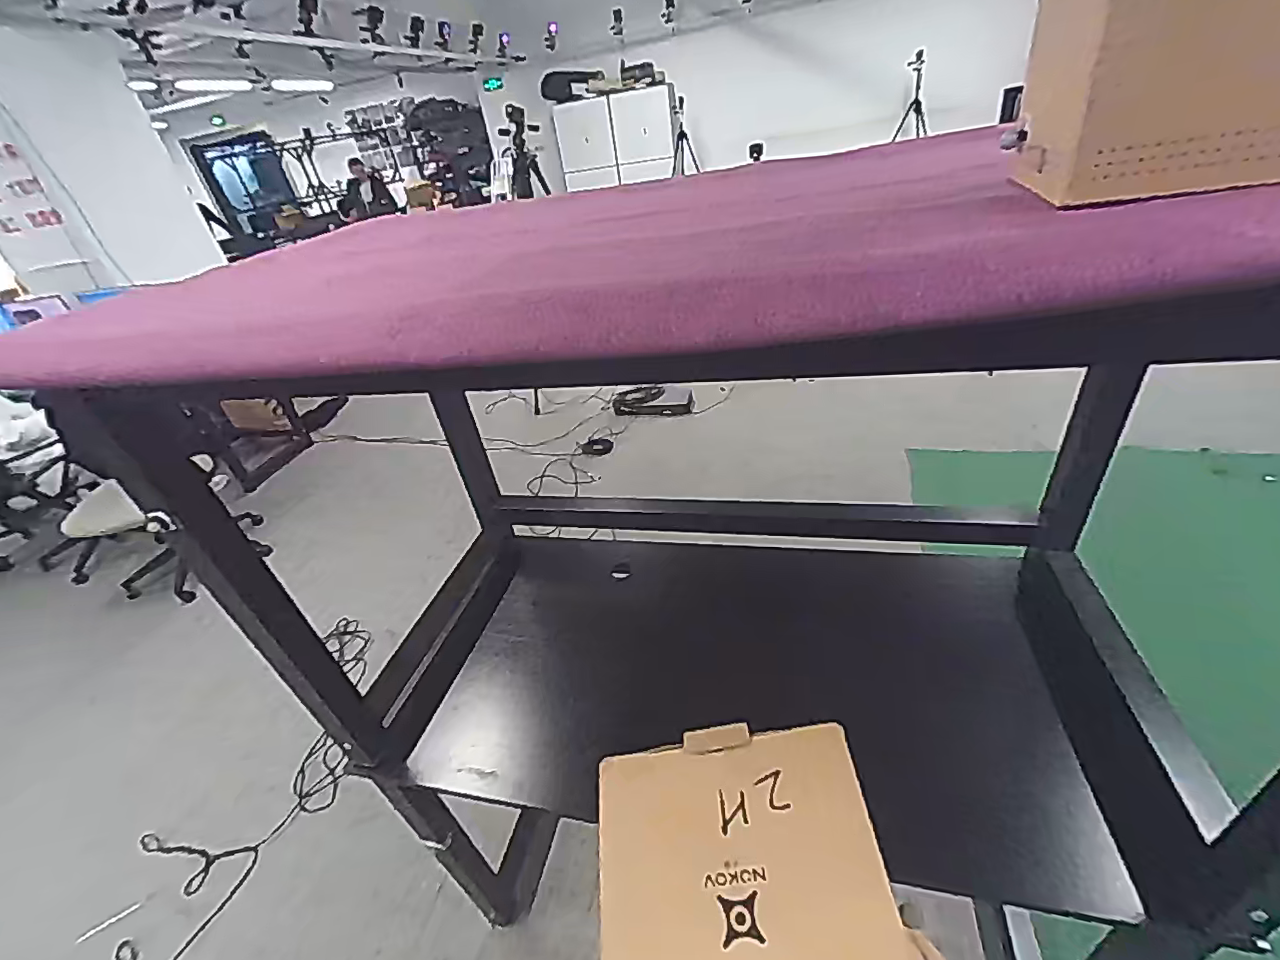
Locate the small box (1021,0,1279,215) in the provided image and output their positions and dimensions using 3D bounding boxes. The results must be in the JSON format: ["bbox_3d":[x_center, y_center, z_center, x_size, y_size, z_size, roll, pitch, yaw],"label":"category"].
[{"bbox_3d":[0.339,-0.257,0.304,0.179,0.176,0.168,4,35,21],"label":"small box"}]

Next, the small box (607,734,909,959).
[{"bbox_3d":[0.080,0.298,0.362,0.168,0.176,0.179,-12,44,8],"label":"small box"}]
